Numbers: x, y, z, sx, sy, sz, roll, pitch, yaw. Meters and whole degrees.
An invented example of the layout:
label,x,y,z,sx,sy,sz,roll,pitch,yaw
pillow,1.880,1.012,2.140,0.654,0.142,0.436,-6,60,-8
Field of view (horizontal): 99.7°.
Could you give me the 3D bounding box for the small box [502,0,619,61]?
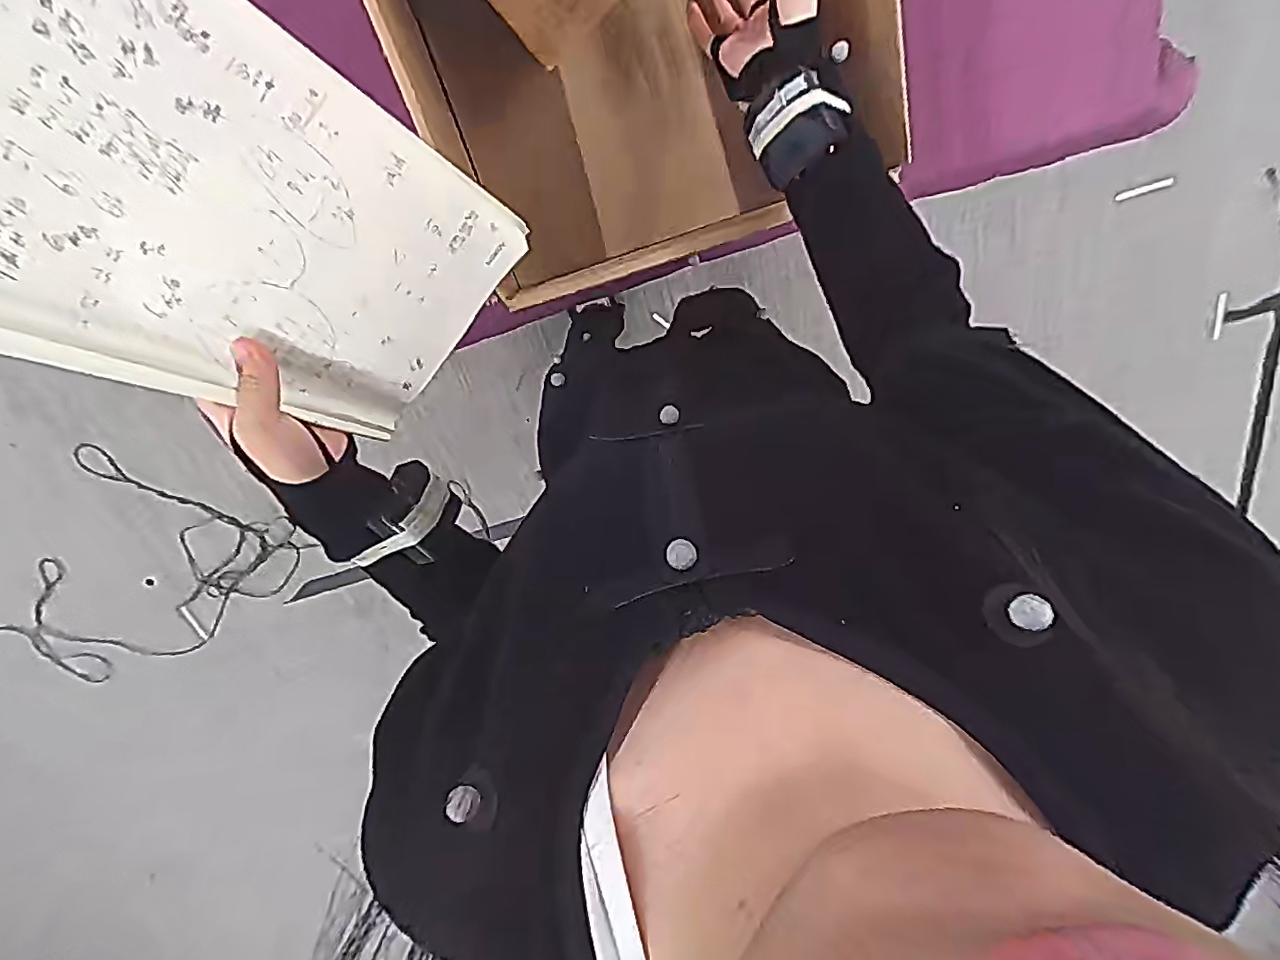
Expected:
label,x,y,z,sx,sy,sz,roll,pitch,yaw
small box,-0.046,-0.455,0.373,0.176,0.168,0.179,36,79,-33
